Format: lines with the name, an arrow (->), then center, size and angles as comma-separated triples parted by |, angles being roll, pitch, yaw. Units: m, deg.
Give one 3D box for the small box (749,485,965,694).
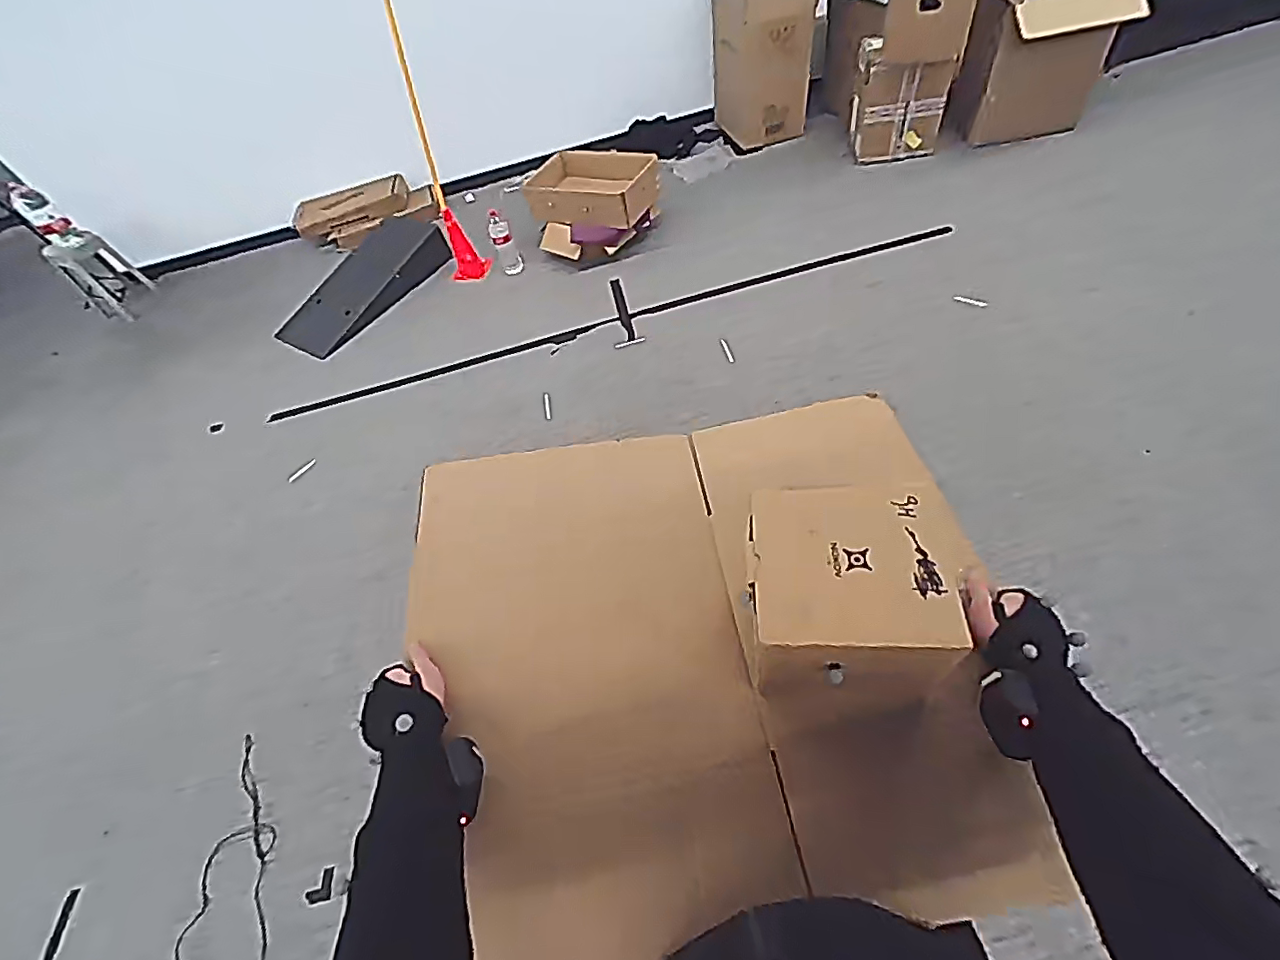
small box -> 0.212, 0.122, 0.576 | 0.179, 0.176, 0.168 | -3, 55, 12
